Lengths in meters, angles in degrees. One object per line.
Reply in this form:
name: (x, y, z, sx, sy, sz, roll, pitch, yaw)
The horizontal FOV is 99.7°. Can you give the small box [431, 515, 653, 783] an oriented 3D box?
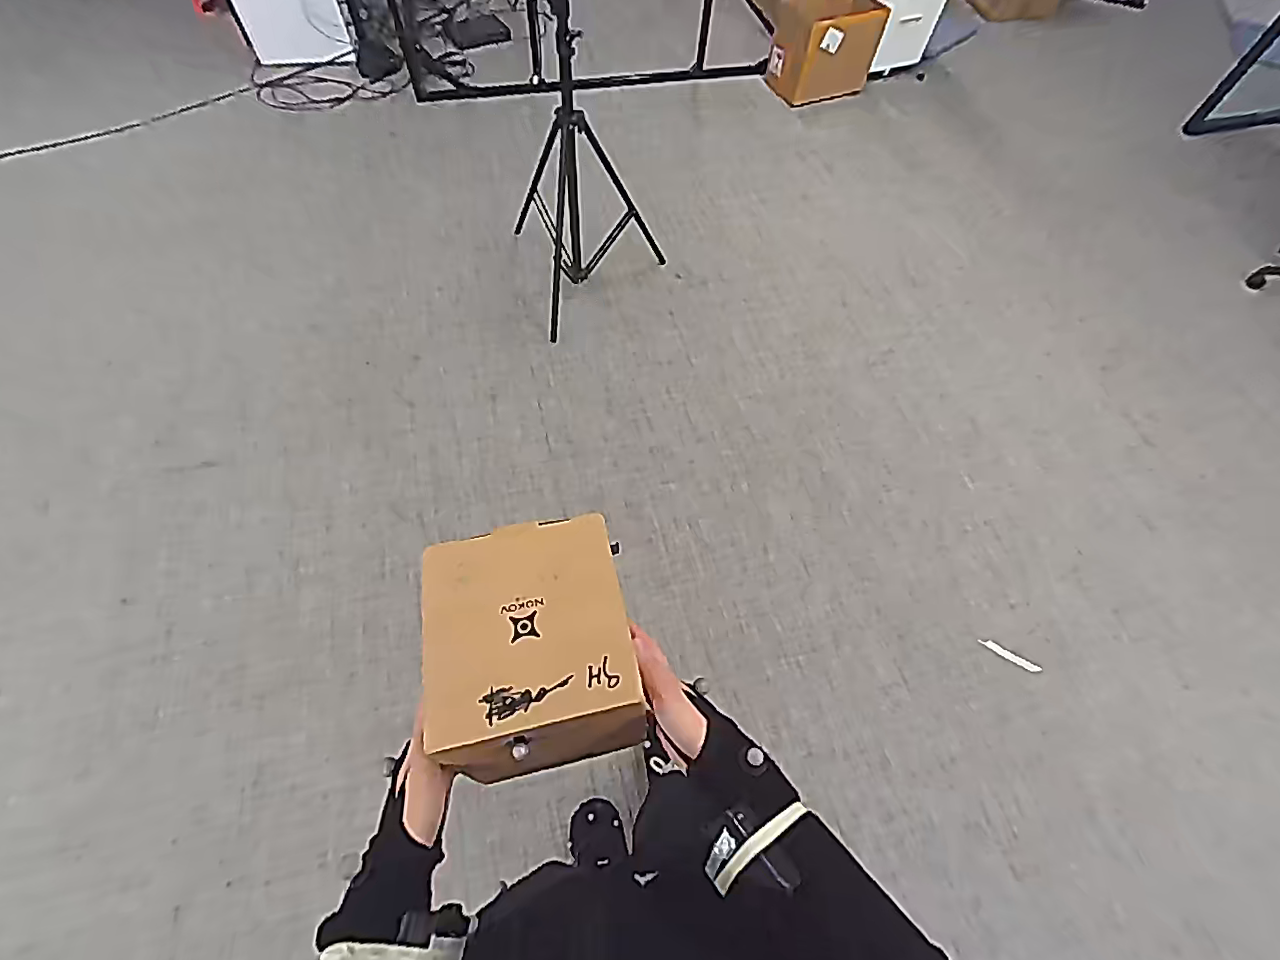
small box: (-0.088, 0.161, 0.509, 0.168, 0.176, 0.179, -11, 54, -7)
